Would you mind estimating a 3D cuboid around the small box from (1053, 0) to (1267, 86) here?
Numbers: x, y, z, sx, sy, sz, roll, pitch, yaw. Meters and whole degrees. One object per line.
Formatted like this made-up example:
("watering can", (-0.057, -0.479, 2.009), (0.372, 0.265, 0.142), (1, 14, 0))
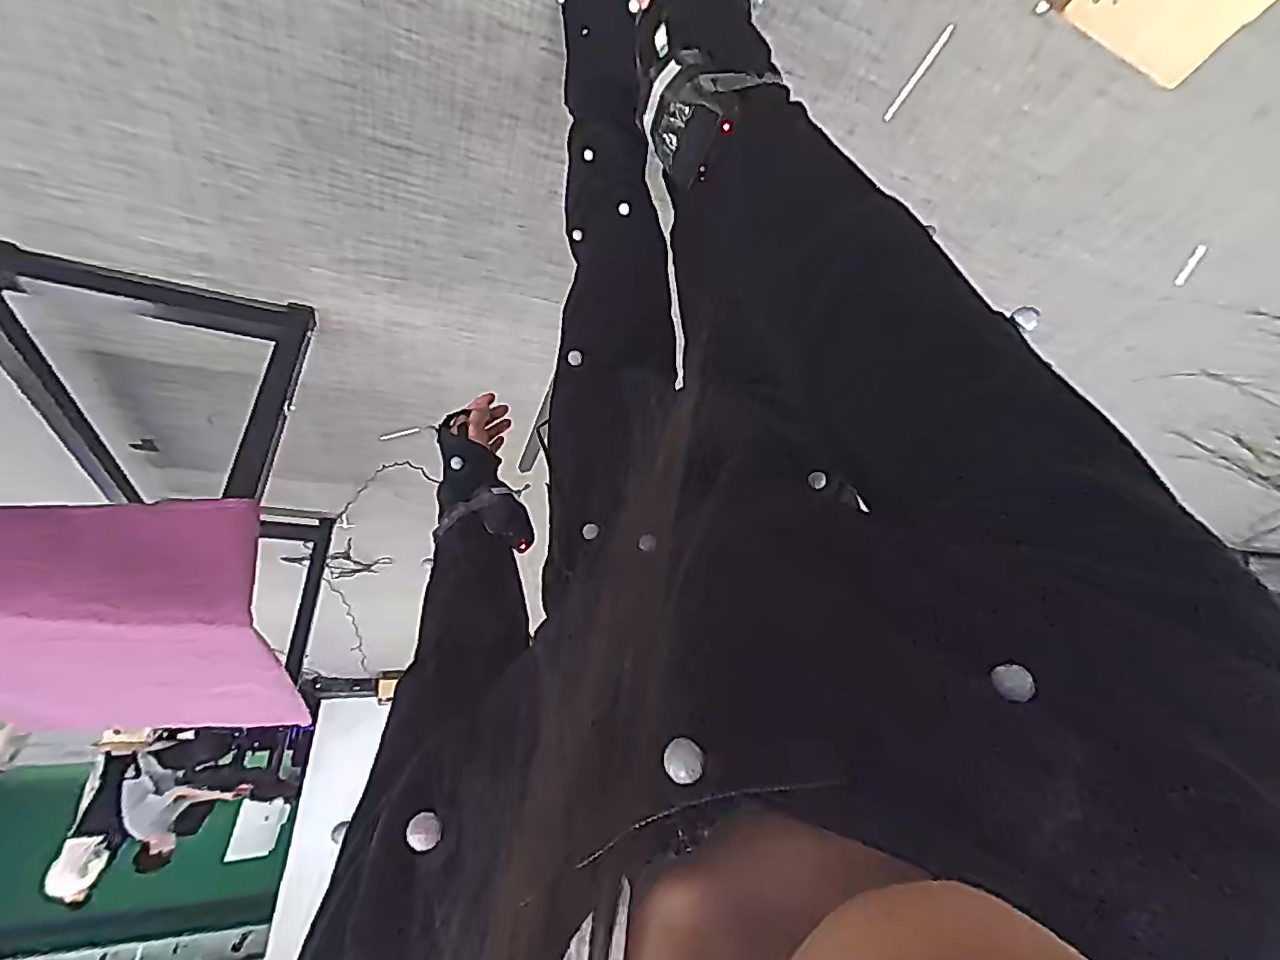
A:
("small box", (0.457, -0.495, 0.460), (0.179, 0.176, 0.168), (6, 150, -24))
